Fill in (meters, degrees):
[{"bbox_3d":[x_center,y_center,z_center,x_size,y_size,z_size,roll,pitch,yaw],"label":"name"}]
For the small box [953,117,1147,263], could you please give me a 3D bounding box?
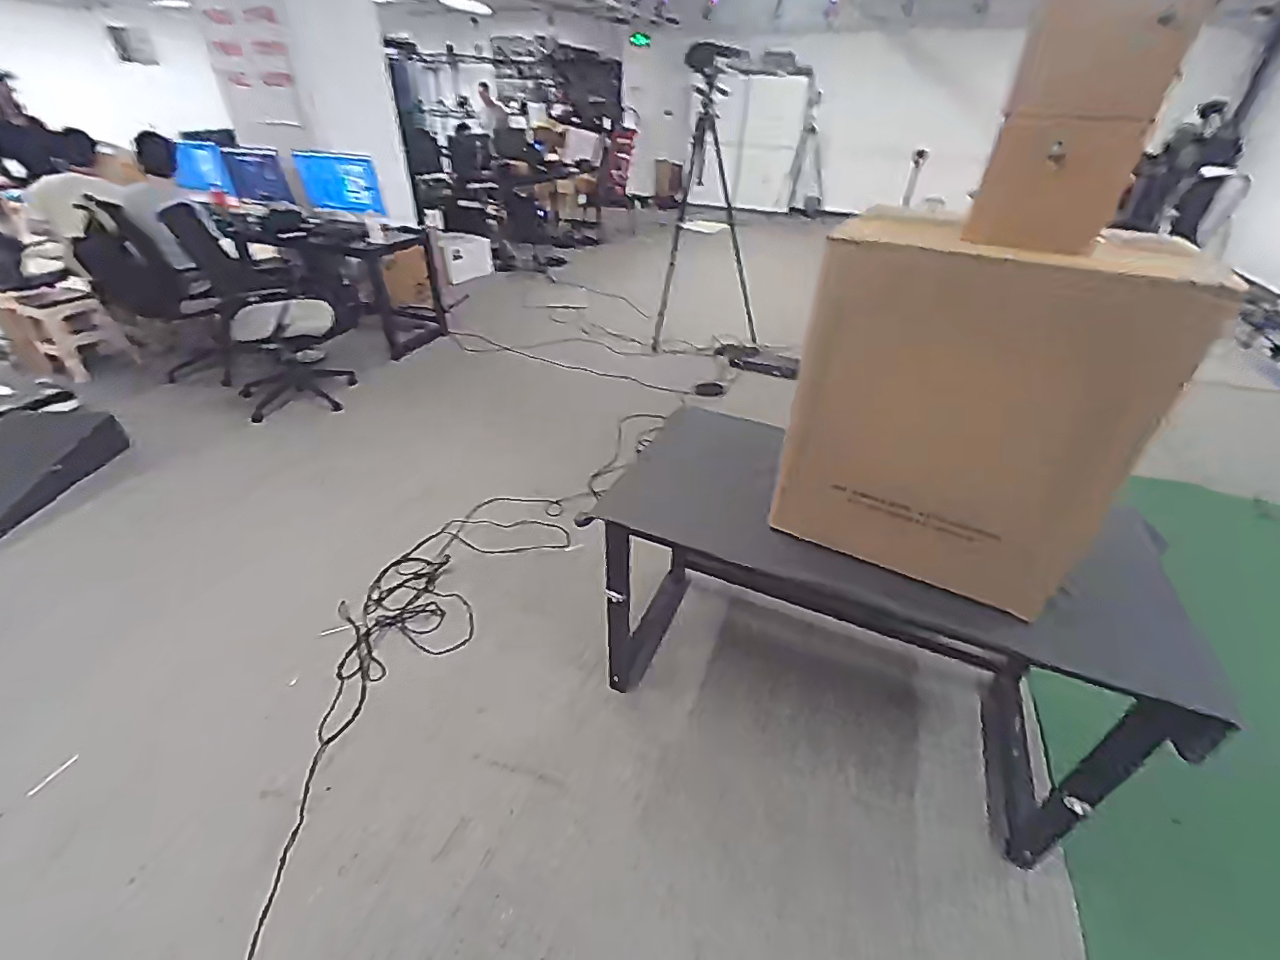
[{"bbox_3d":[0.604,-0.438,0.815,0.179,0.176,0.168,19,41,24],"label":"small box"}]
